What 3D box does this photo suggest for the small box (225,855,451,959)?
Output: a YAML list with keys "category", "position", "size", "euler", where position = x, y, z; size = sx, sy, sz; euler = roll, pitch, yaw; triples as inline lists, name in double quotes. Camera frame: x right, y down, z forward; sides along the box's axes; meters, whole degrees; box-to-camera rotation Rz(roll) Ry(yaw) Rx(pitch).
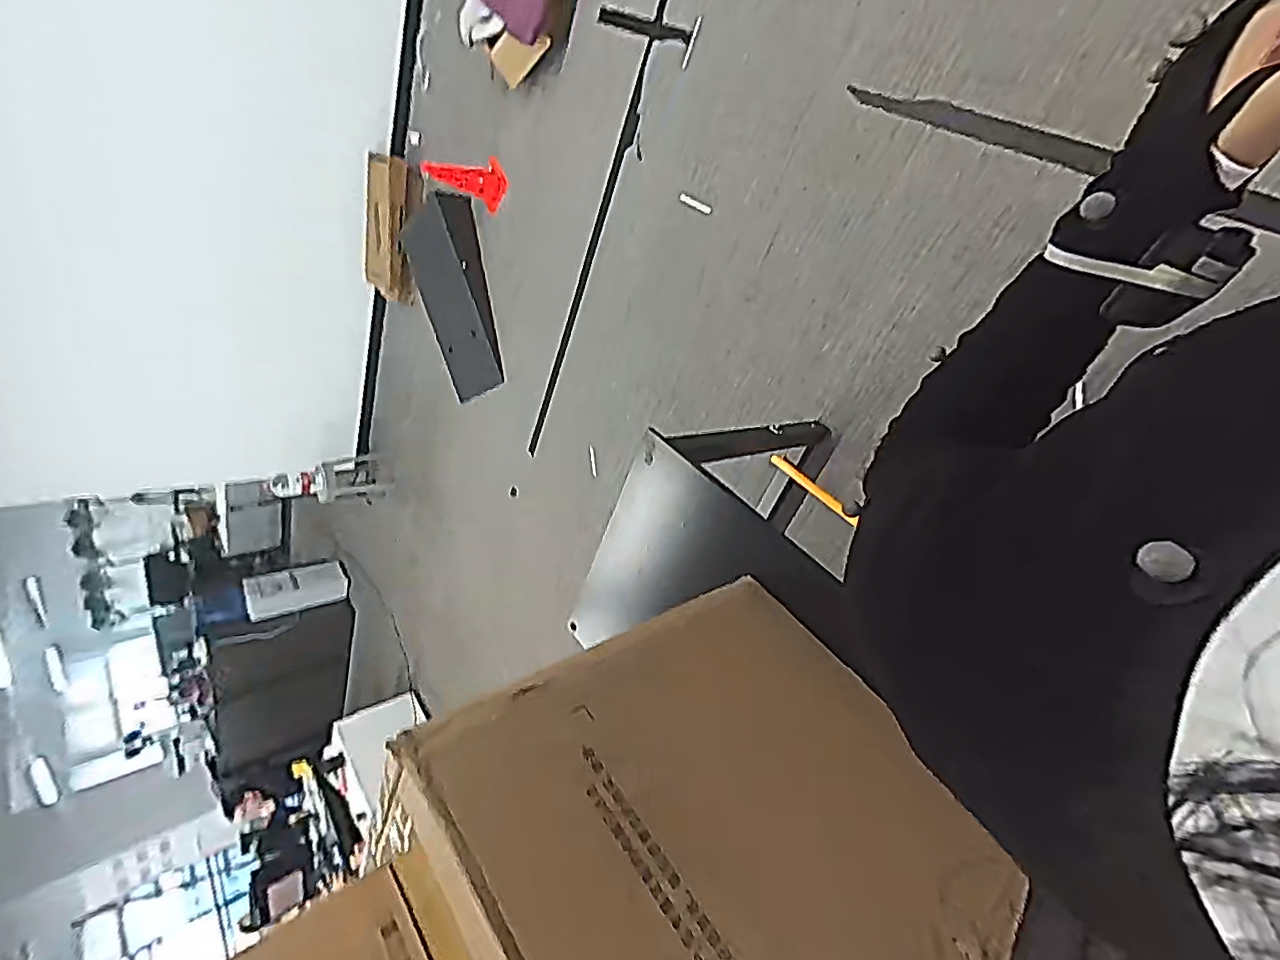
- category: "small box"
  position: [-0.283, 0.522, 0.525]
  size: [0.168, 0.176, 0.179]
  euler: [41, 126, 32]
